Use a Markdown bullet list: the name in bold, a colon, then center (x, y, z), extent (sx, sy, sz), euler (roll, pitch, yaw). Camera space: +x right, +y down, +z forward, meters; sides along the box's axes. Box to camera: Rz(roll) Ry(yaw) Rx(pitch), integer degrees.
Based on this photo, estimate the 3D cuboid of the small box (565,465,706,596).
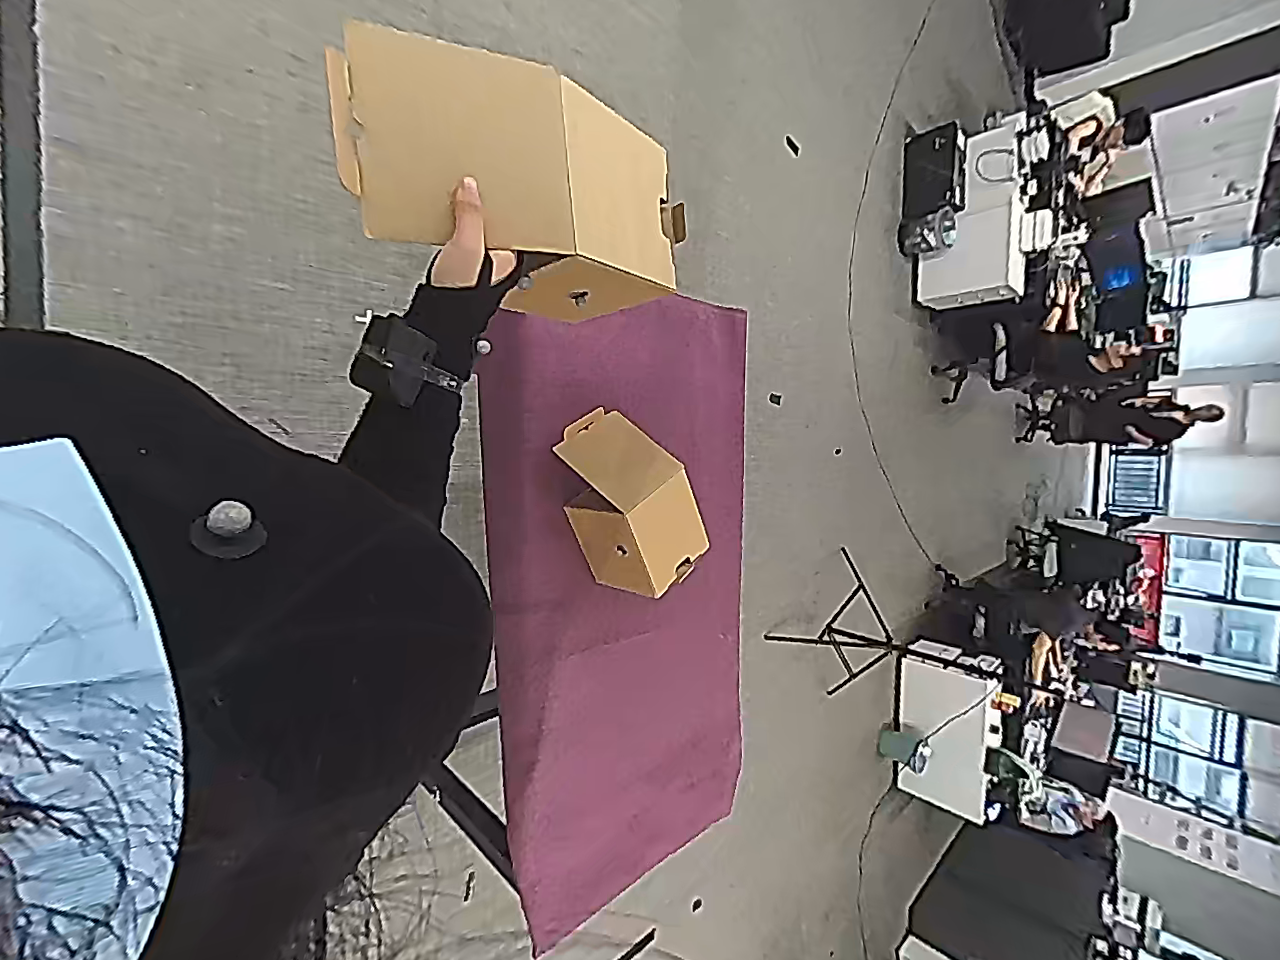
- **small box**: center (-0.011, 0.085, 0.997), extent (0.168, 0.176, 0.179), euler (-37, 118, -36)
